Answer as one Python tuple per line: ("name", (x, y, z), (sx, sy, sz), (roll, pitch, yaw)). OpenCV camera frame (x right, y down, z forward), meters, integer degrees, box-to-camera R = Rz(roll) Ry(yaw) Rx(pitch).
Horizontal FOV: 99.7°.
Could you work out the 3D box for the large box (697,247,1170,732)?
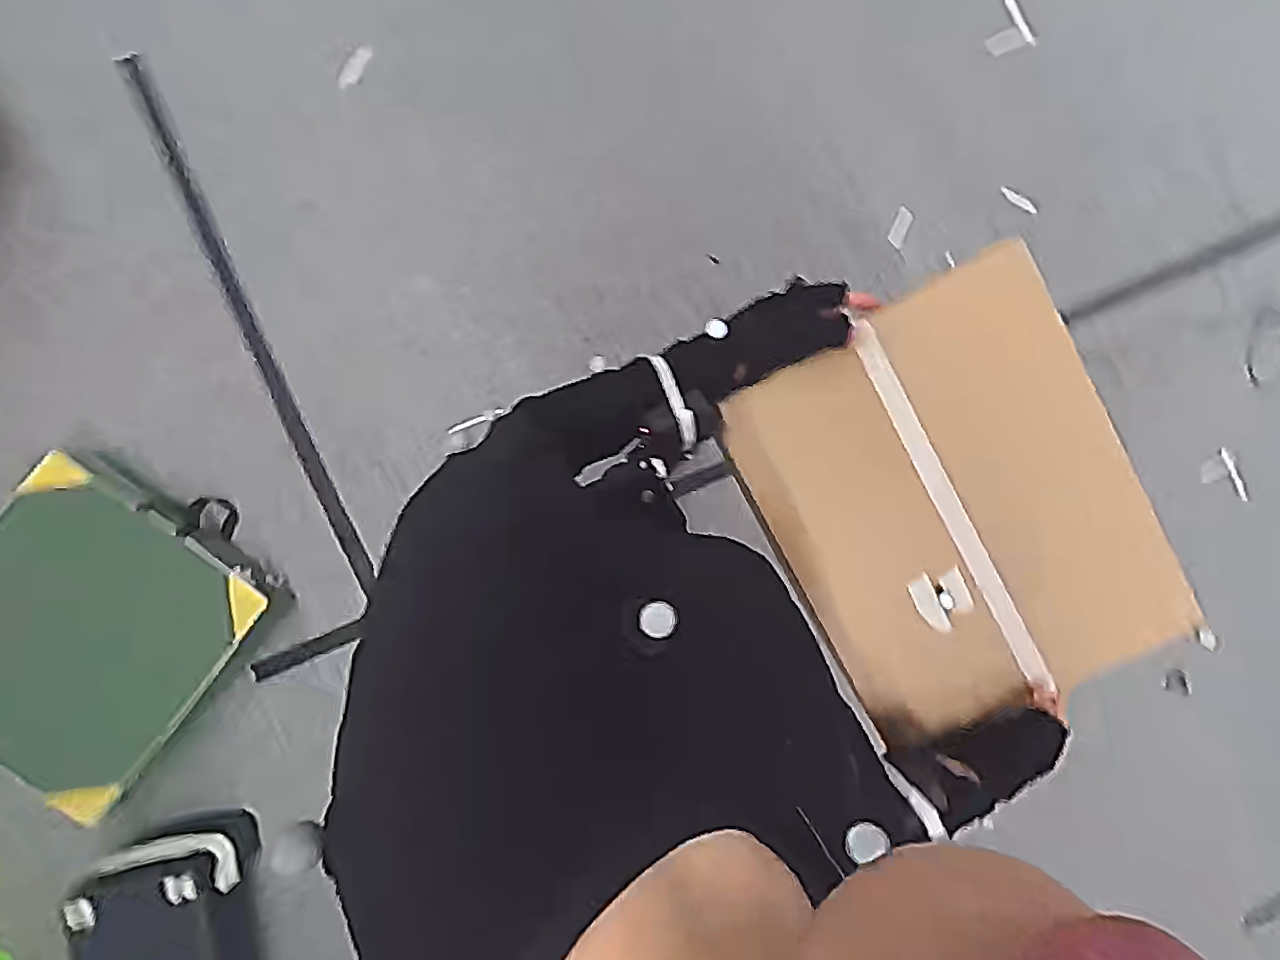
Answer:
("large box", (0.301, 0.004, 0.678), (0.320, 0.320, 0.408), (-28, 95, 9))
